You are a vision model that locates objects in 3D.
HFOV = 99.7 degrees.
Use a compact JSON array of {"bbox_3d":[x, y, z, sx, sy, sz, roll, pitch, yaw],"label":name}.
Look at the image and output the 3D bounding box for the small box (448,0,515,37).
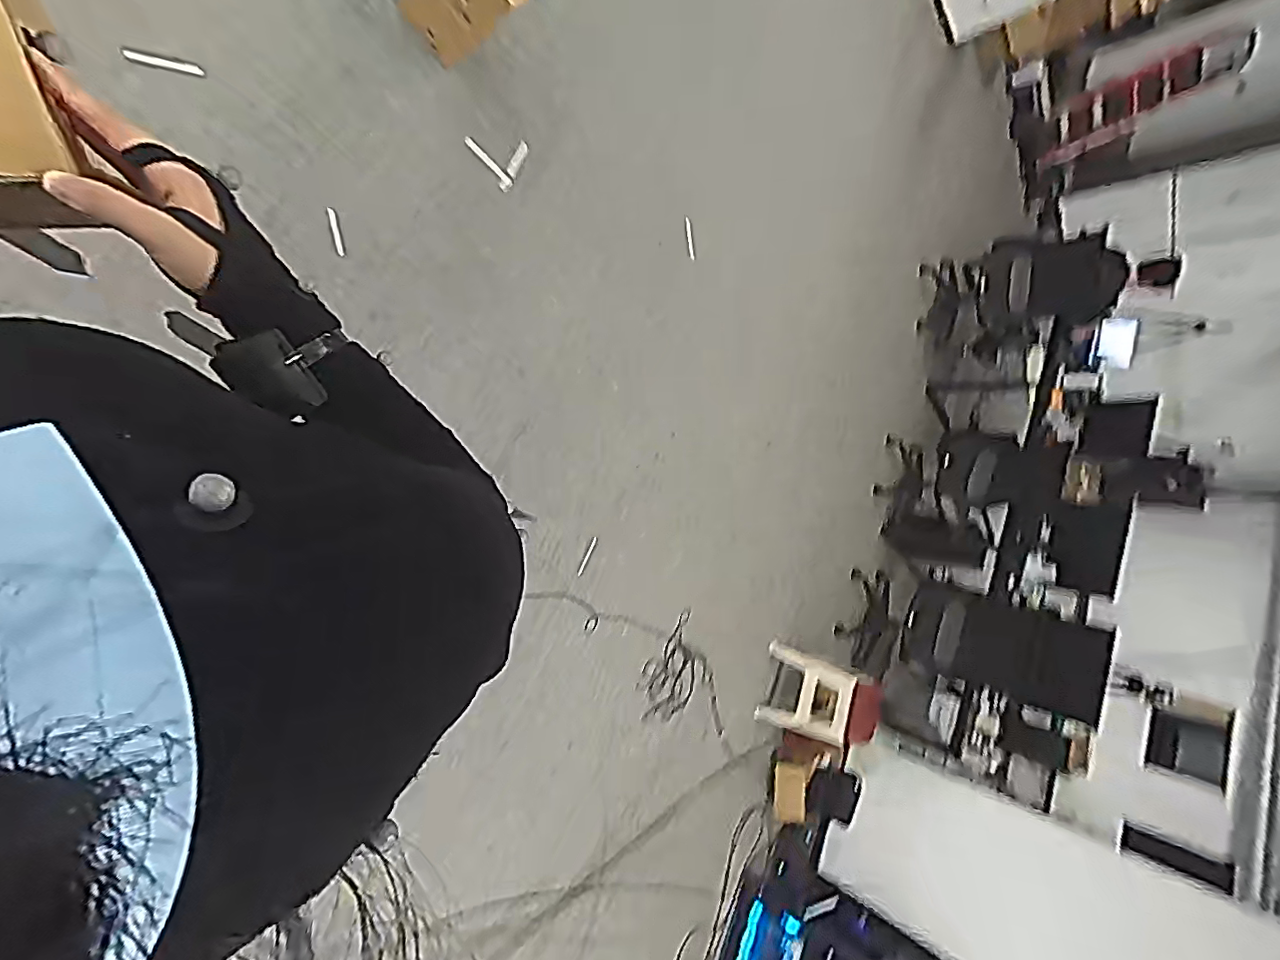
[{"bbox_3d":[-0.363,-1.214,1.277,0.168,0.176,0.179,42,68,-37],"label":"small box"}]
